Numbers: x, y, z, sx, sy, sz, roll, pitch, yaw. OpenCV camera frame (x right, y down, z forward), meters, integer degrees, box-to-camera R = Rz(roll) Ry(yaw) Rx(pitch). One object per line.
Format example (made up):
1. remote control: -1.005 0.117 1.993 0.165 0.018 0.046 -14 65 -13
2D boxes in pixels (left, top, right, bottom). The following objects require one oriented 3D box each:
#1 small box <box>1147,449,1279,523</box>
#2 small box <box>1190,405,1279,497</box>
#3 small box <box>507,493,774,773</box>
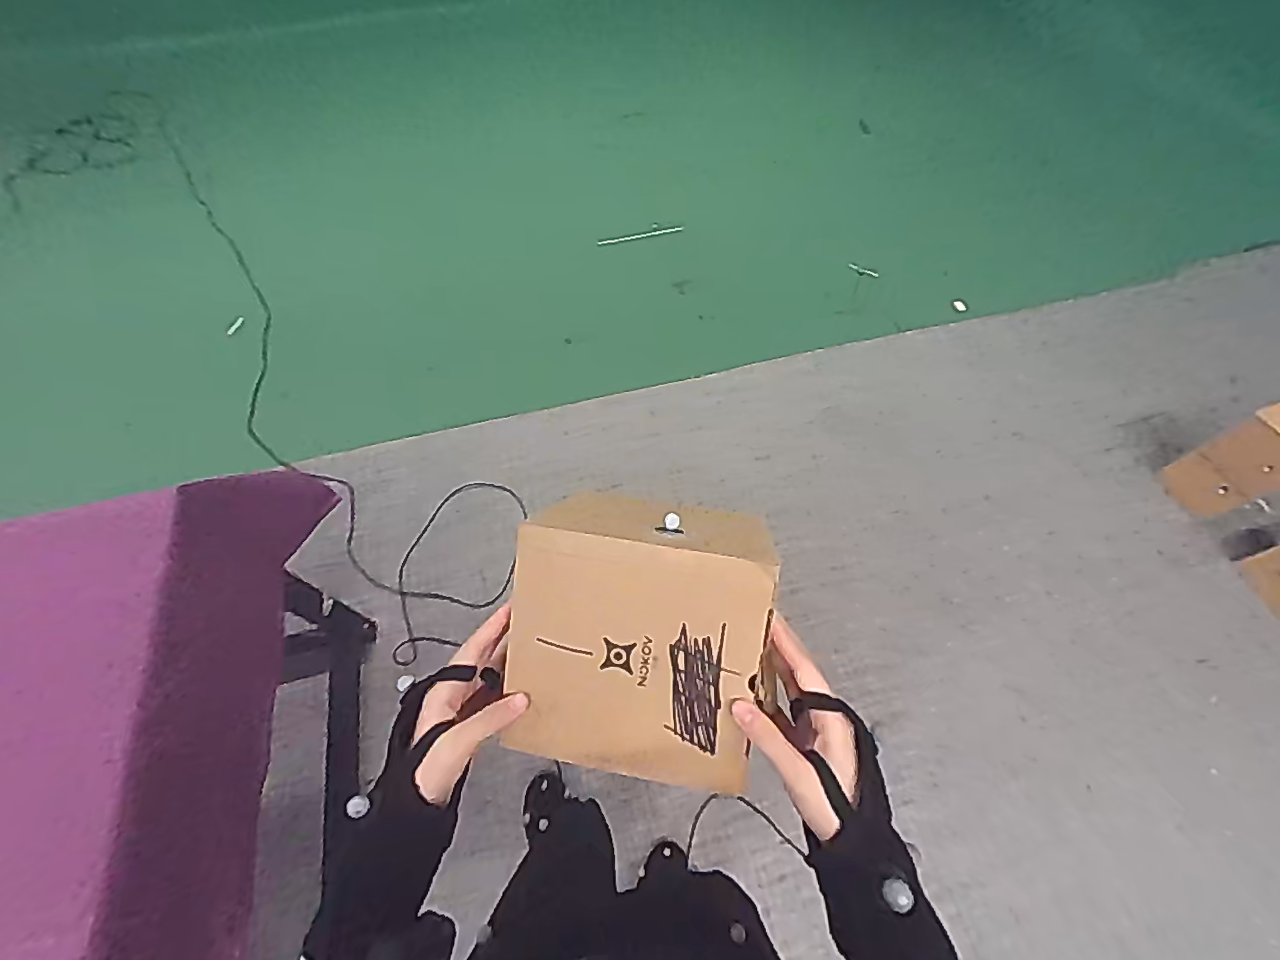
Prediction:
1. small box: 1.661 0.007 1.571 0.168 0.176 0.179 -16 59 -8
2. small box: 1.648 -0.071 1.428 0.168 0.176 0.179 -16 59 -8
3. small box: 0.008 0.108 0.461 0.179 0.176 0.168 8 96 9
